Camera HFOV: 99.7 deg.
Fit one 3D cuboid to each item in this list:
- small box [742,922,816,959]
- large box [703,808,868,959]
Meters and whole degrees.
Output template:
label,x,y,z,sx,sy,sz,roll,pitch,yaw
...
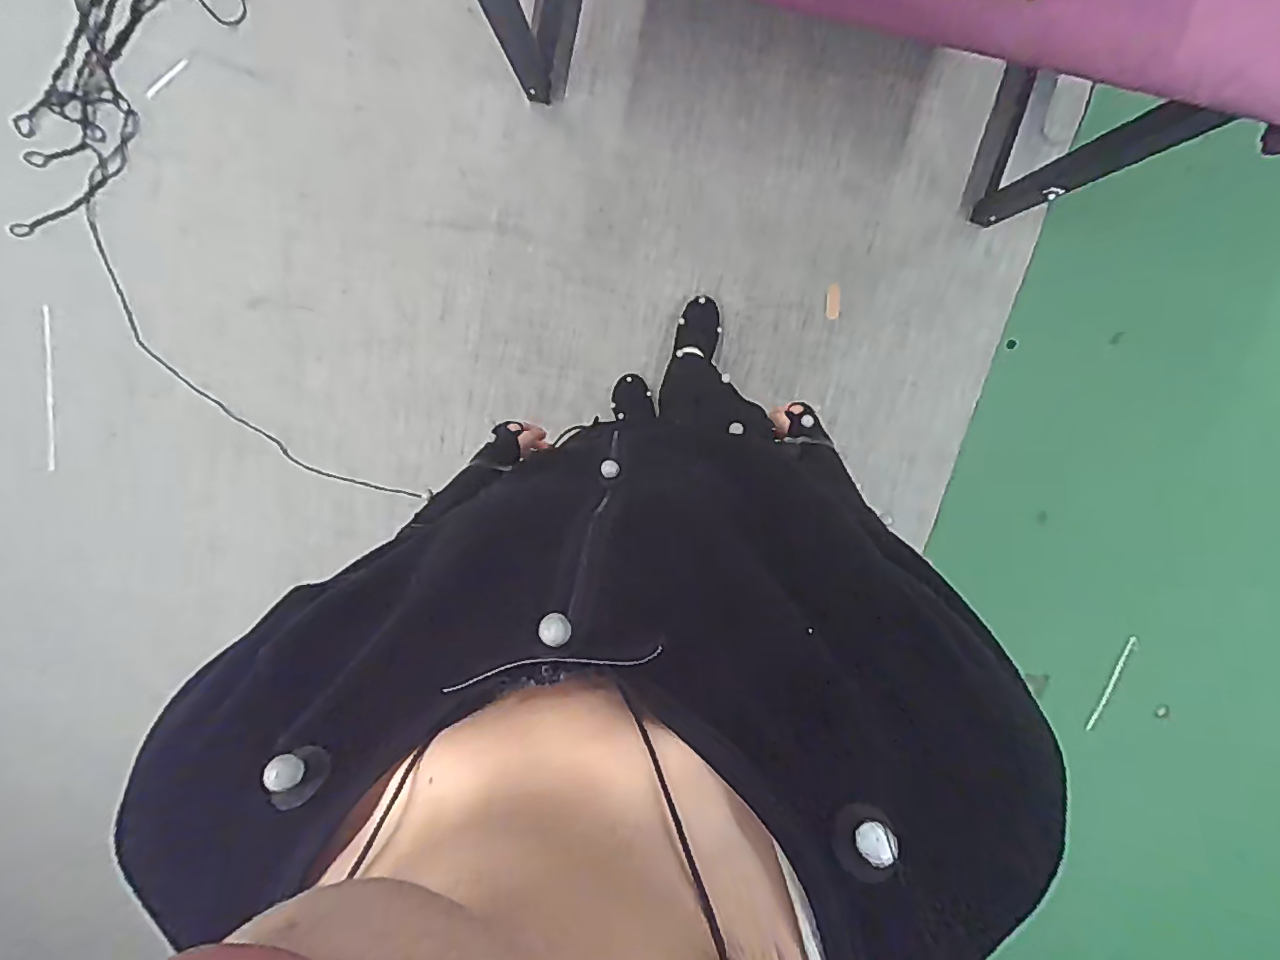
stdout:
label,x,y,z,sx,sy,sz,roll,pitch,yaw
small box,0.346,1.239,1.335,0.168,0.176,0.179,0,101,3
large box,0.398,1.206,1.575,0.408,0.320,0.320,-1,102,1
